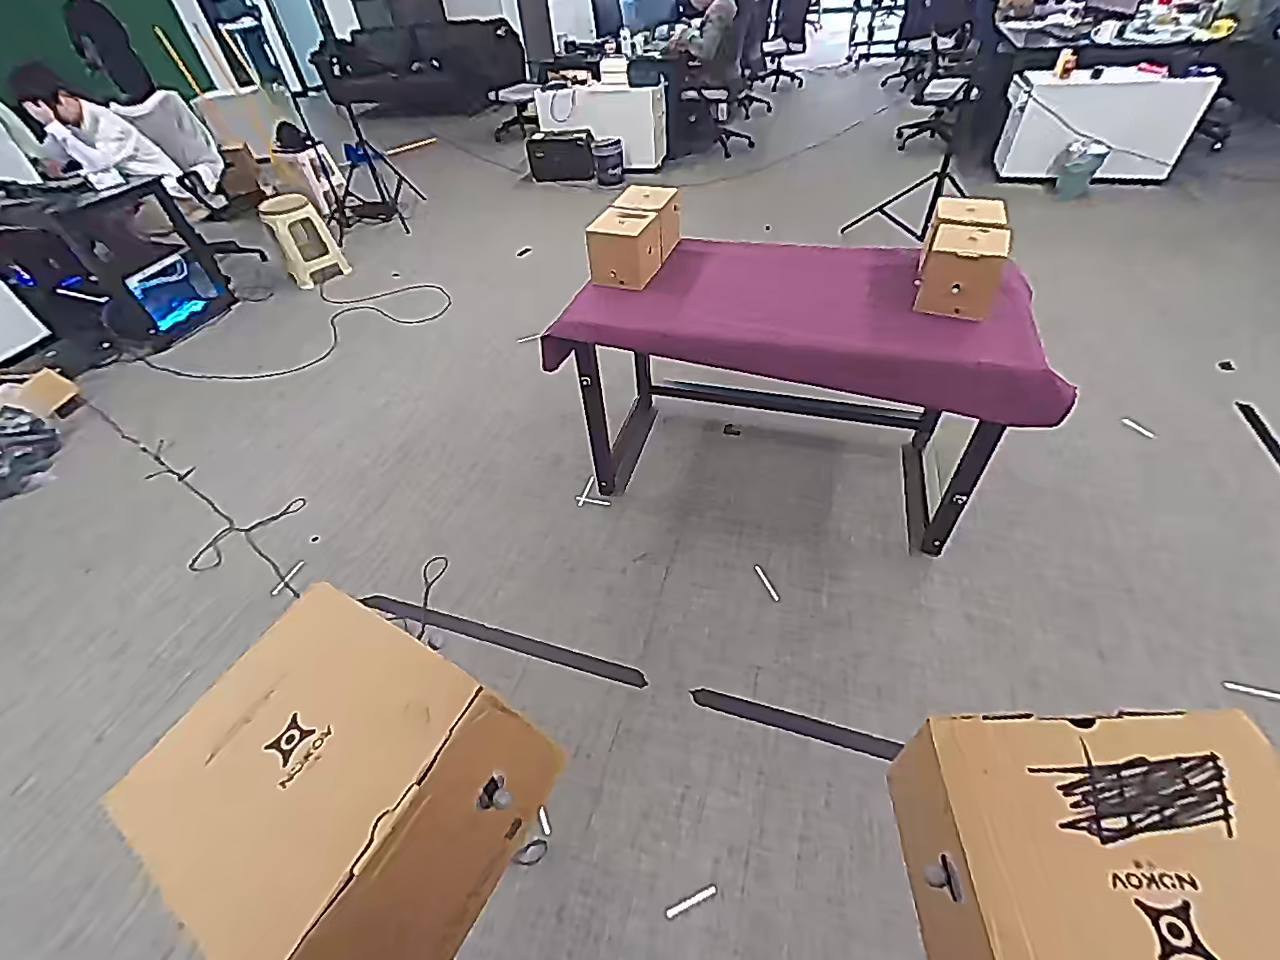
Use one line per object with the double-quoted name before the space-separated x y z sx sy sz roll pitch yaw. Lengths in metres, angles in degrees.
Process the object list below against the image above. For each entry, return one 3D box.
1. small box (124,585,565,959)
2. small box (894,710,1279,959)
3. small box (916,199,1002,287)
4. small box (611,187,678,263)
"small box" -0.180 0.209 0.380 0.179 0.176 0.168 17 56 28
"small box" 0.267 0.252 0.321 0.168 0.176 0.179 -6 52 10
"small box" 0.892 -0.669 1.524 0.168 0.176 0.179 14 48 17
"small box" 0.017 -0.829 1.757 0.168 0.176 0.179 13 49 17
